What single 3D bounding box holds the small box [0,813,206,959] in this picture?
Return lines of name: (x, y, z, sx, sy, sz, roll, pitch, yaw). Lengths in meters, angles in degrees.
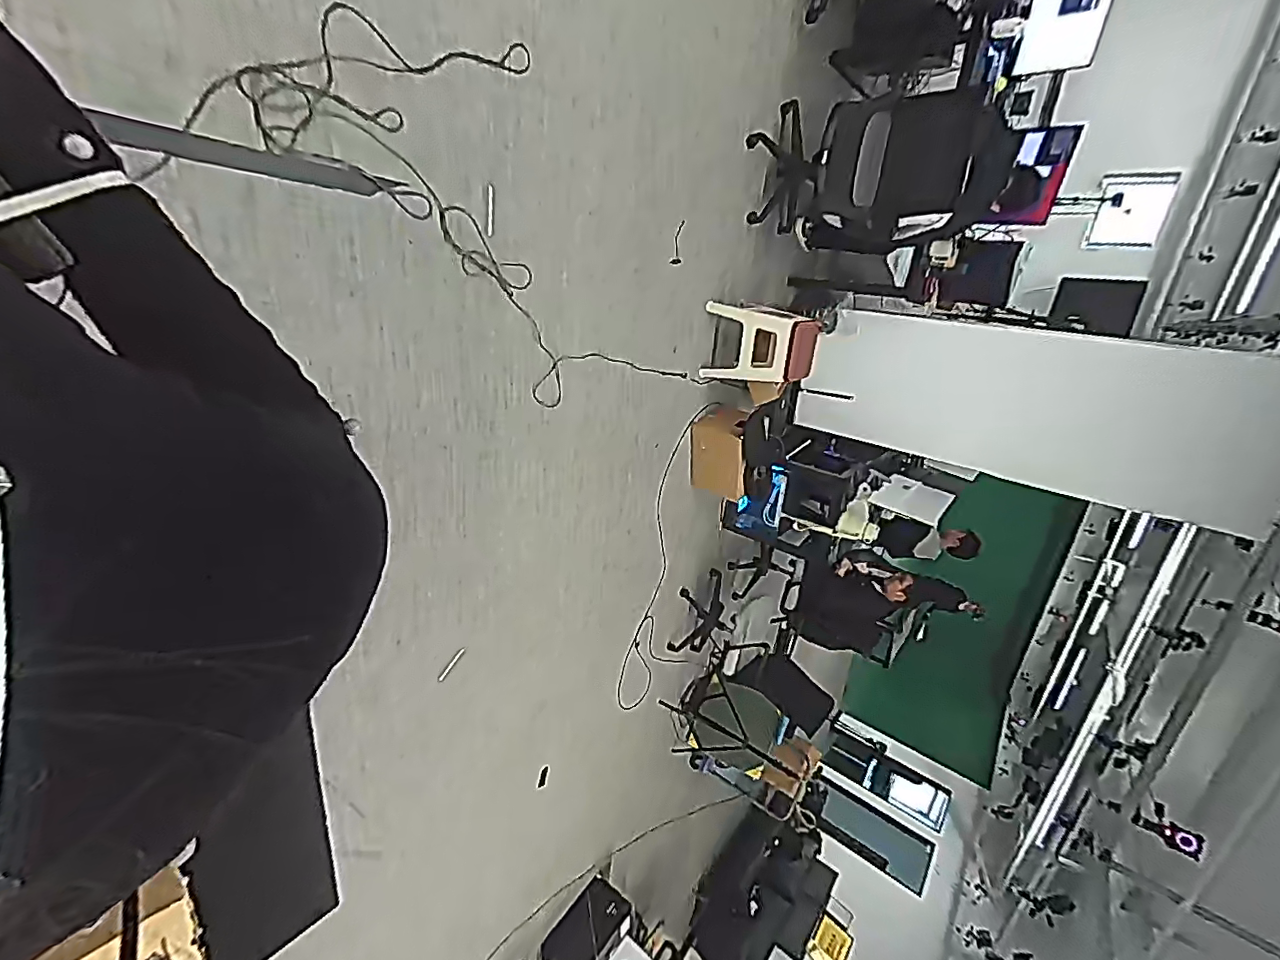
small box: (-0.647, 0.544, 0.631, 0.179, 0.176, 0.168, -17, 120, -49)
